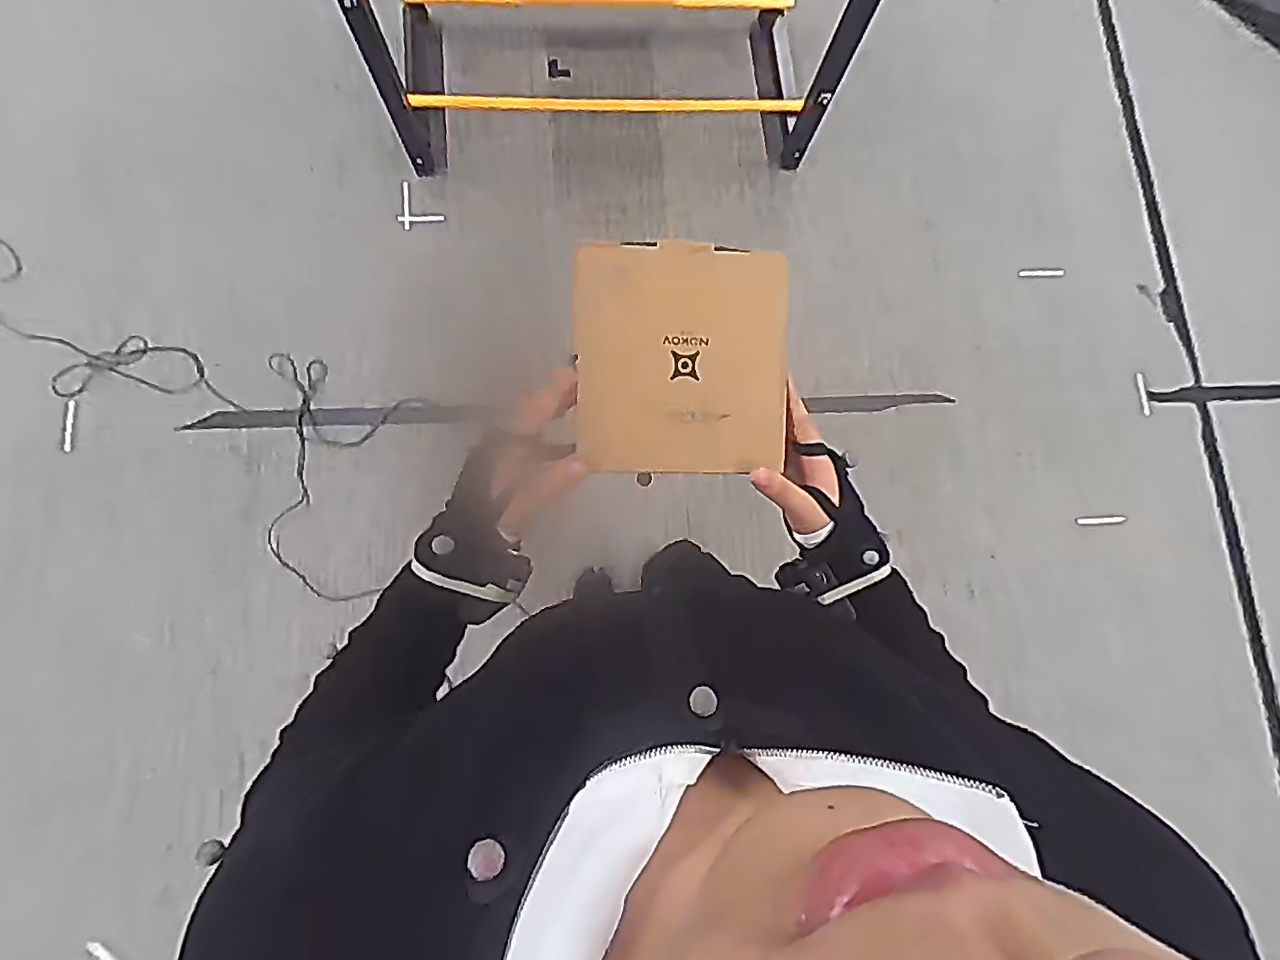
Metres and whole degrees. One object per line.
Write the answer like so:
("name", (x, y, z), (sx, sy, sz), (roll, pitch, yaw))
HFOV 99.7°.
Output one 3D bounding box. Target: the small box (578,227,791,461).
("small box", (0.028, -0.107, 0.500), (0.168, 0.176, 0.179), (0, 93, -7))
